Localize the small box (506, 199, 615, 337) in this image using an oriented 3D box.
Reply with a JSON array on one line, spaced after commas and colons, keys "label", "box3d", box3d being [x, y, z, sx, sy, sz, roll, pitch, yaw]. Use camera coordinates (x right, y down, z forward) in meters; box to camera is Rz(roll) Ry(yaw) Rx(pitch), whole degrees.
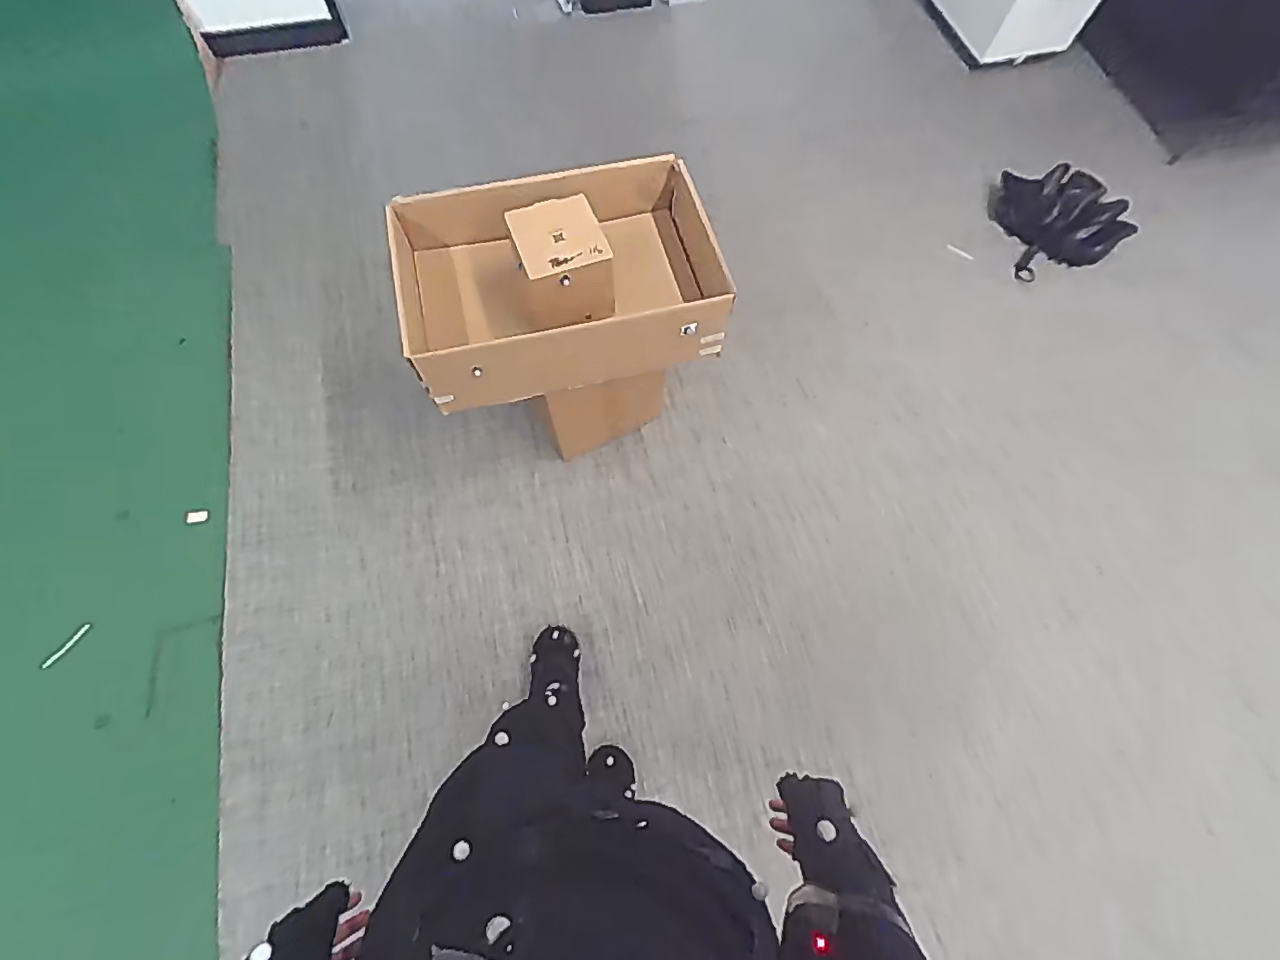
[{"label": "small box", "box3d": [-0.157, -0.426, 1.099, 0.168, 0.176, 0.179, -20, 69, -8]}]
